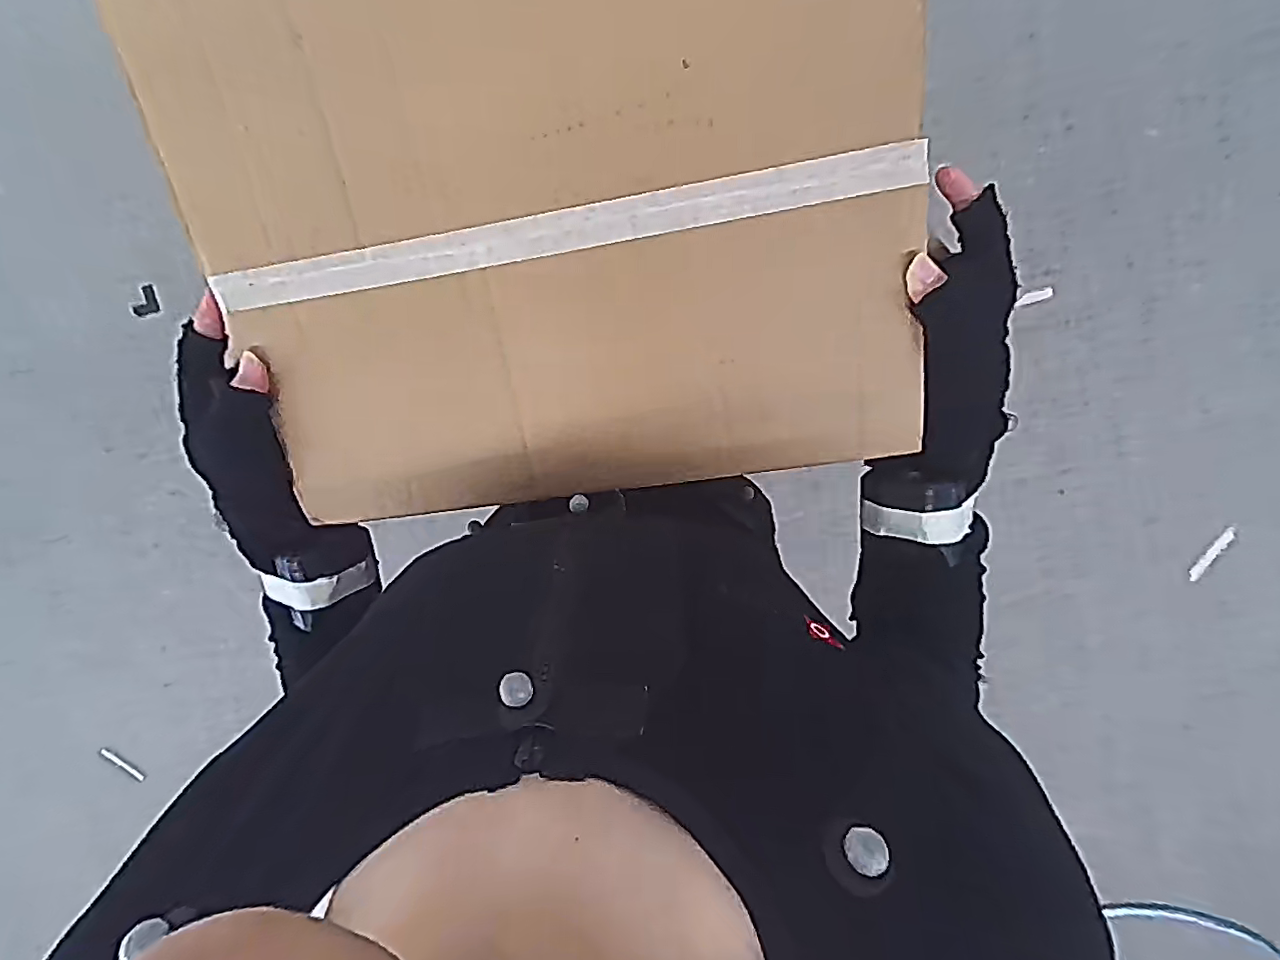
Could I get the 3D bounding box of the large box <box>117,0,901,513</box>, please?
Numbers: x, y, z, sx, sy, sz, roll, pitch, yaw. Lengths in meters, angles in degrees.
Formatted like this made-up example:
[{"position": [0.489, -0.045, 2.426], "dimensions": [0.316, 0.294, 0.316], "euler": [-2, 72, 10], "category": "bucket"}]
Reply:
[{"position": [-0.045, -0.197, 0.448], "dimensions": [0.408, 0.320, 0.320], "euler": [-7, 110, 7], "category": "large box"}]
